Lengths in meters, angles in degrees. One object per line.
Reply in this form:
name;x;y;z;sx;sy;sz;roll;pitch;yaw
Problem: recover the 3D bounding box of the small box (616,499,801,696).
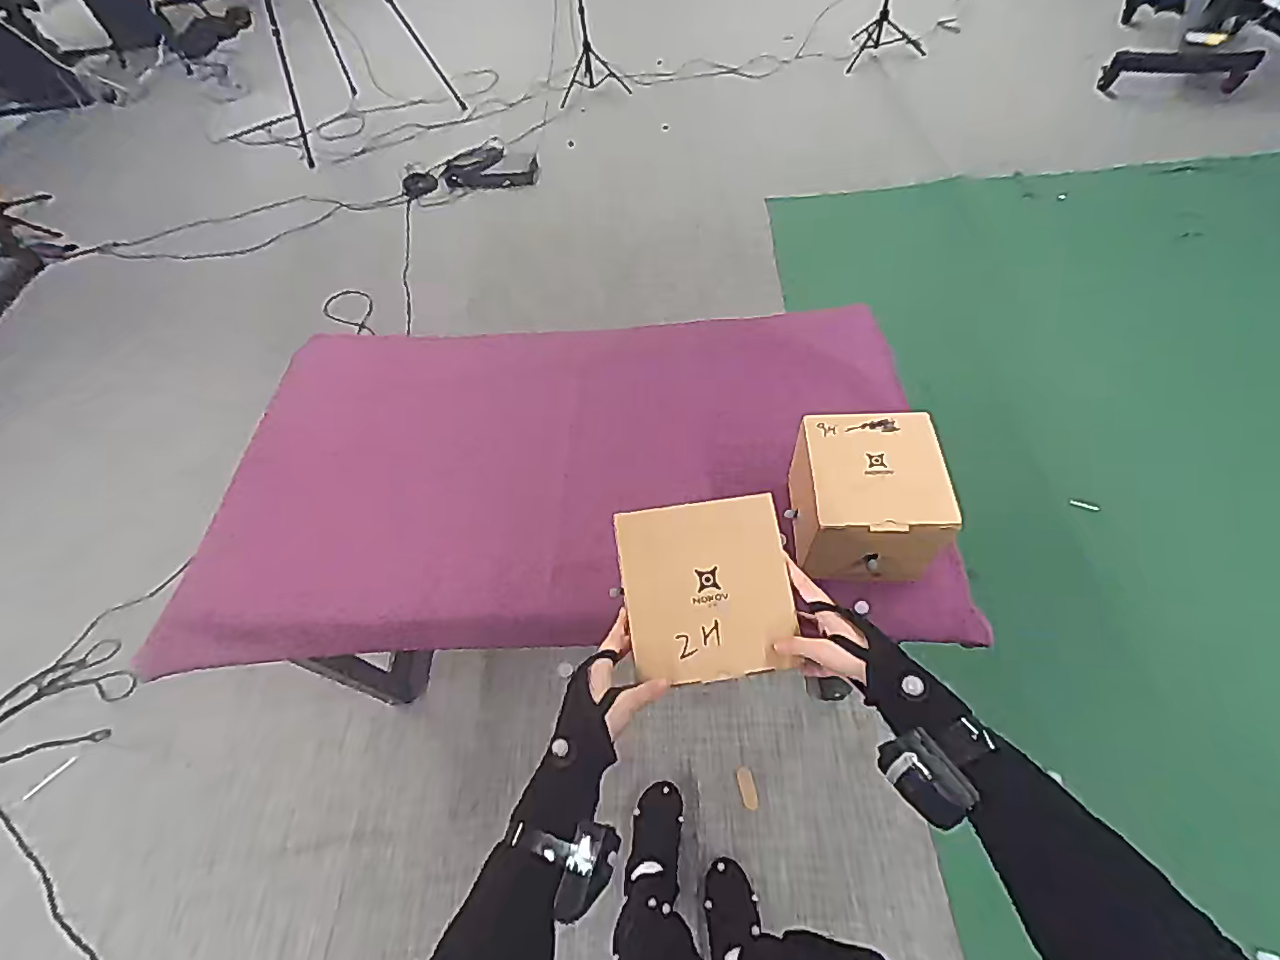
small box;0.062;0.130;0.609;0.168;0.176;0.179;-7;78;-2
